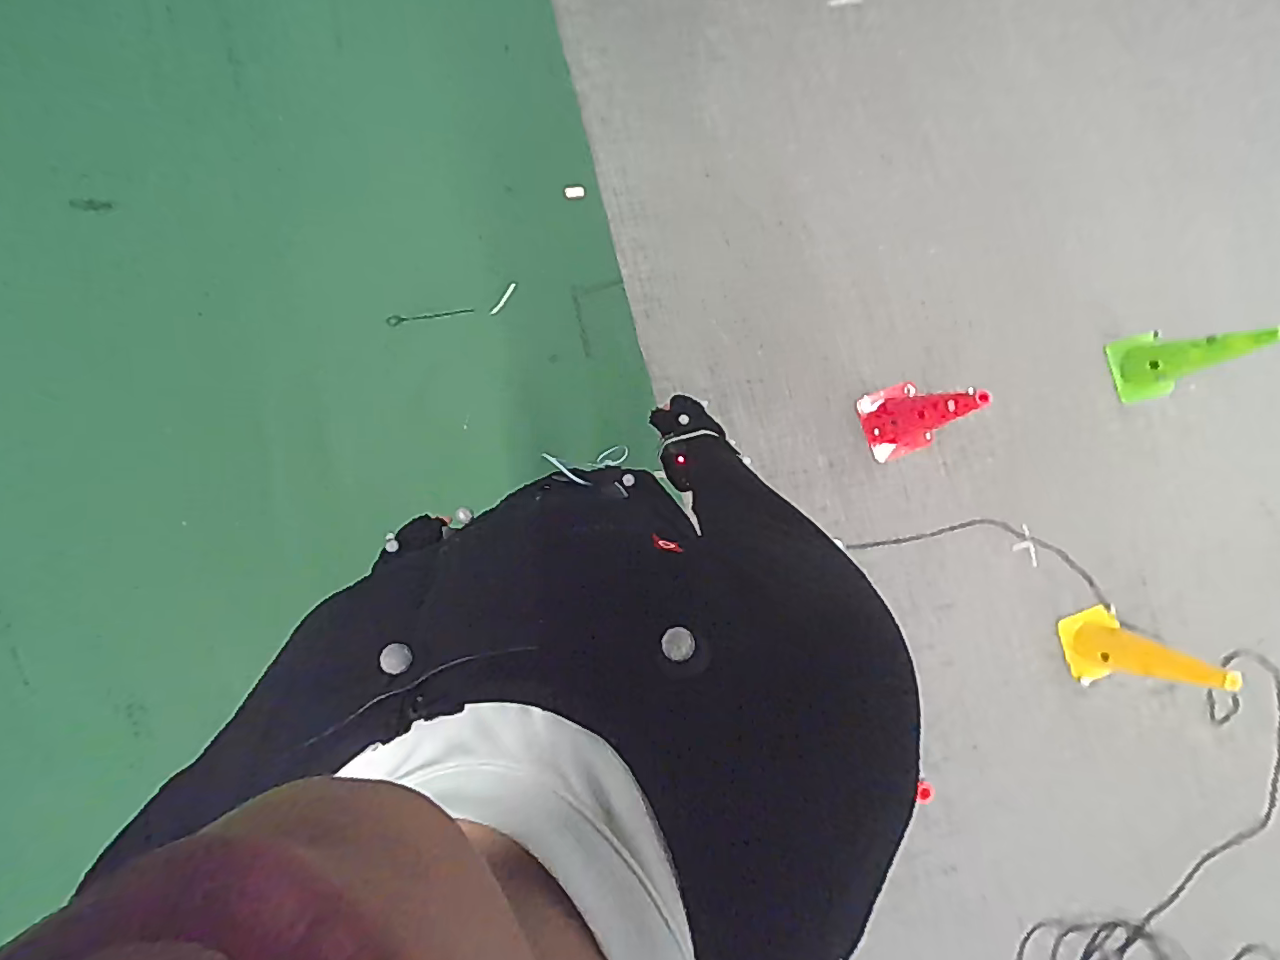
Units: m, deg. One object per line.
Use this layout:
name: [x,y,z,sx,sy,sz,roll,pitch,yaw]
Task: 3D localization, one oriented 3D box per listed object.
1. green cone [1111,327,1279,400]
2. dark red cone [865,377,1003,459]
green cone: [1.595,-0.368,1.521,0.200,0.368,0.202,-16,91,-6]
dark red cone: [0.777,-0.186,1.400,0.201,0.394,0.202,-20,90,-5]
